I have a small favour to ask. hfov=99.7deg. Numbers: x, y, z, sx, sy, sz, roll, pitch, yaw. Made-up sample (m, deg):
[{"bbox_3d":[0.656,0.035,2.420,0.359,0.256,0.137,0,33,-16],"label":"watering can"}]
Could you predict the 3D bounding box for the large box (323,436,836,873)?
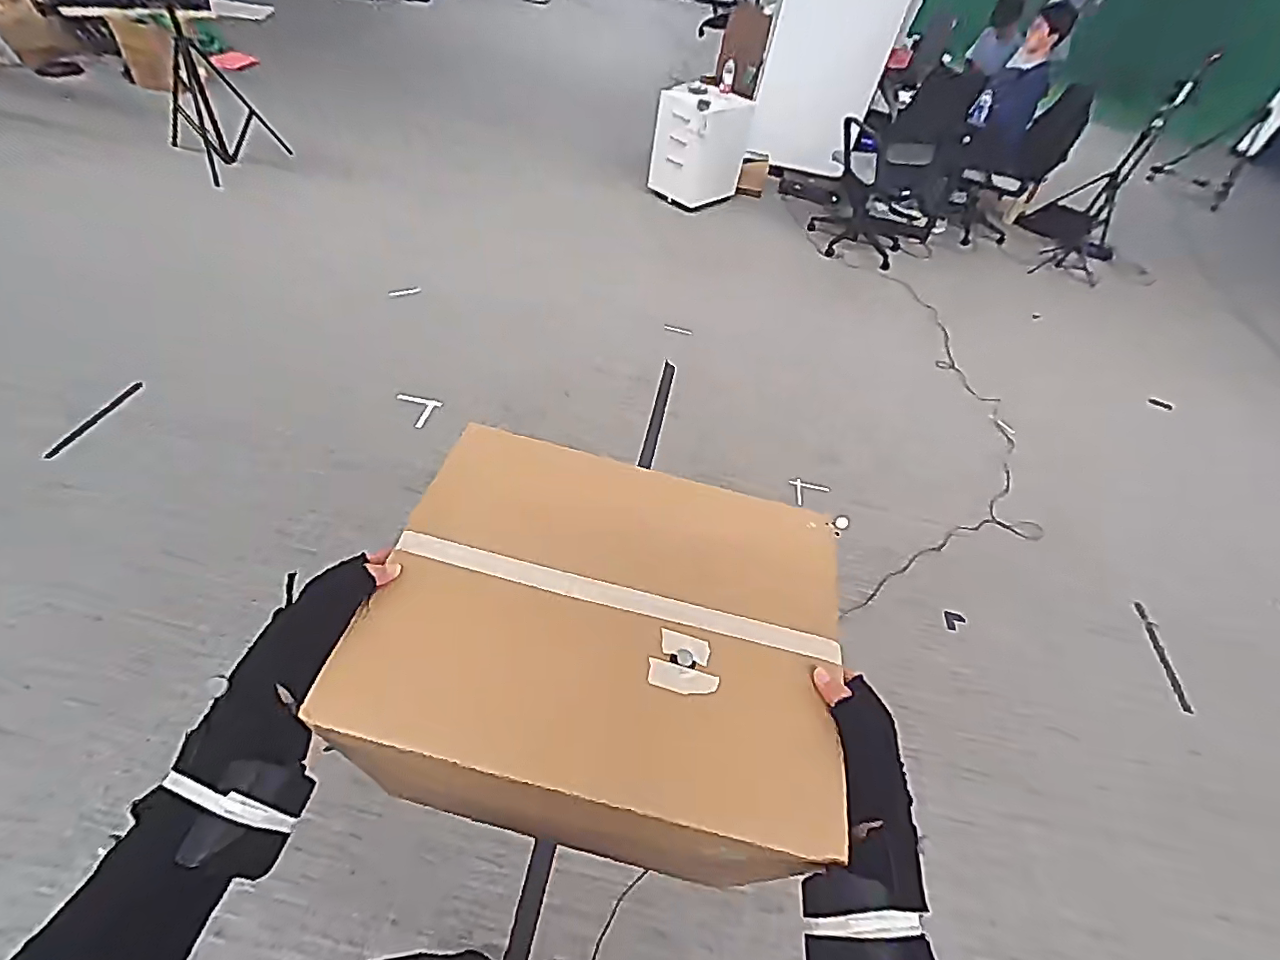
[{"bbox_3d":[-0.043,0.203,0.608,0.408,0.320,0.320,15,51,1],"label":"large box"}]
